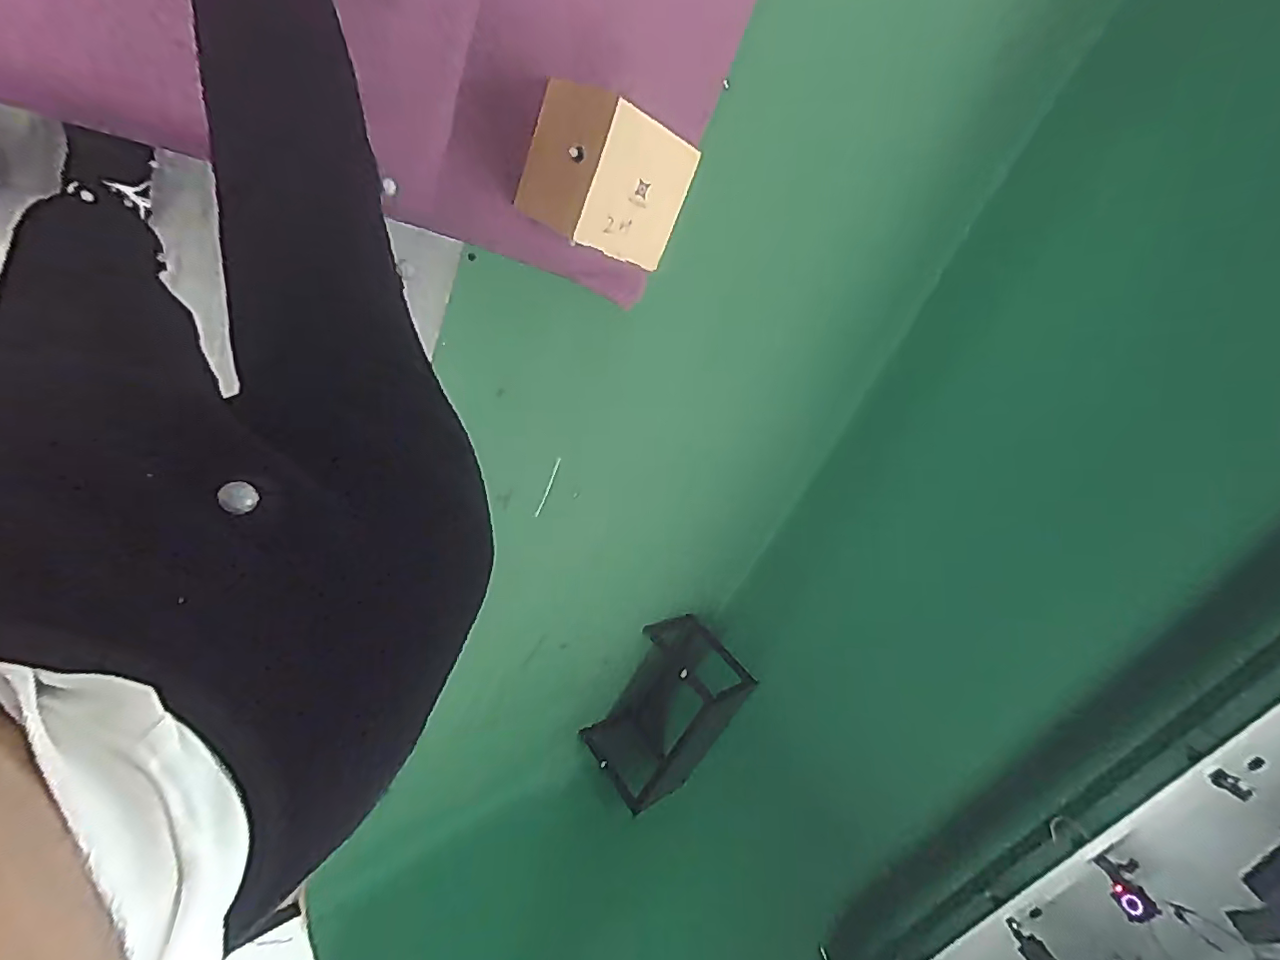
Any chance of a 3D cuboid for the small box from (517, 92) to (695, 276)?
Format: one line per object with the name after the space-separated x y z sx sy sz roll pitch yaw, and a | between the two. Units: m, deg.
-0.057 -0.433 0.795 0.168 0.176 0.179 -1 124 -47 | small box
